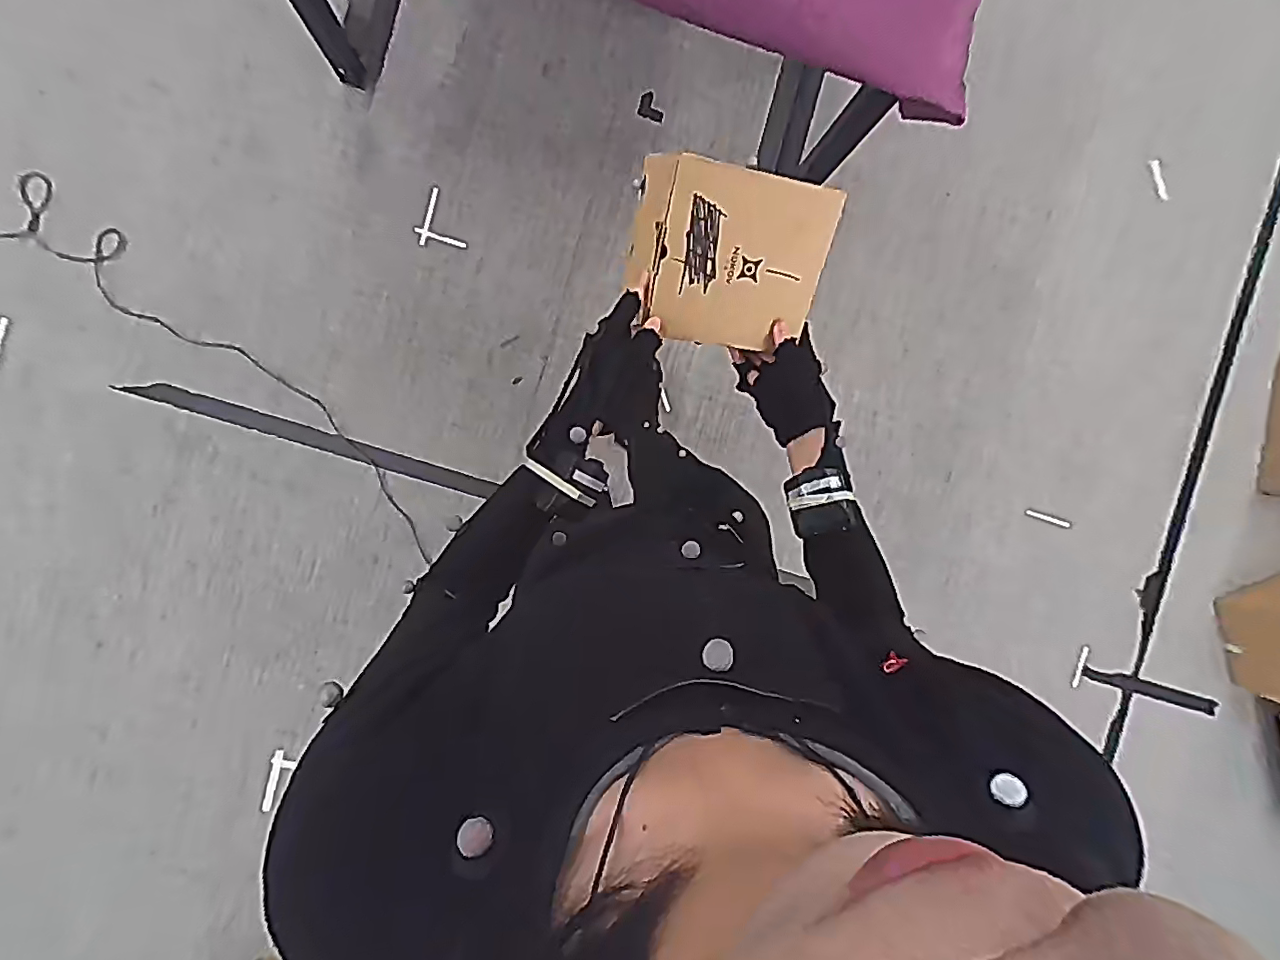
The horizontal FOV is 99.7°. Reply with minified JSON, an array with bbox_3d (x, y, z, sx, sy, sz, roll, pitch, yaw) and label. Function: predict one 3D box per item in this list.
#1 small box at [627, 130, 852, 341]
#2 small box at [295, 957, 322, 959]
[{"bbox_3d":[0.090,-0.268,0.598,0.179,0.176,0.168,5,120,-15],"label":"small box"},{"bbox_3d":[-0.943,1.385,1.391,0.179,0.176,0.168,-2,94,-7],"label":"small box"}]
